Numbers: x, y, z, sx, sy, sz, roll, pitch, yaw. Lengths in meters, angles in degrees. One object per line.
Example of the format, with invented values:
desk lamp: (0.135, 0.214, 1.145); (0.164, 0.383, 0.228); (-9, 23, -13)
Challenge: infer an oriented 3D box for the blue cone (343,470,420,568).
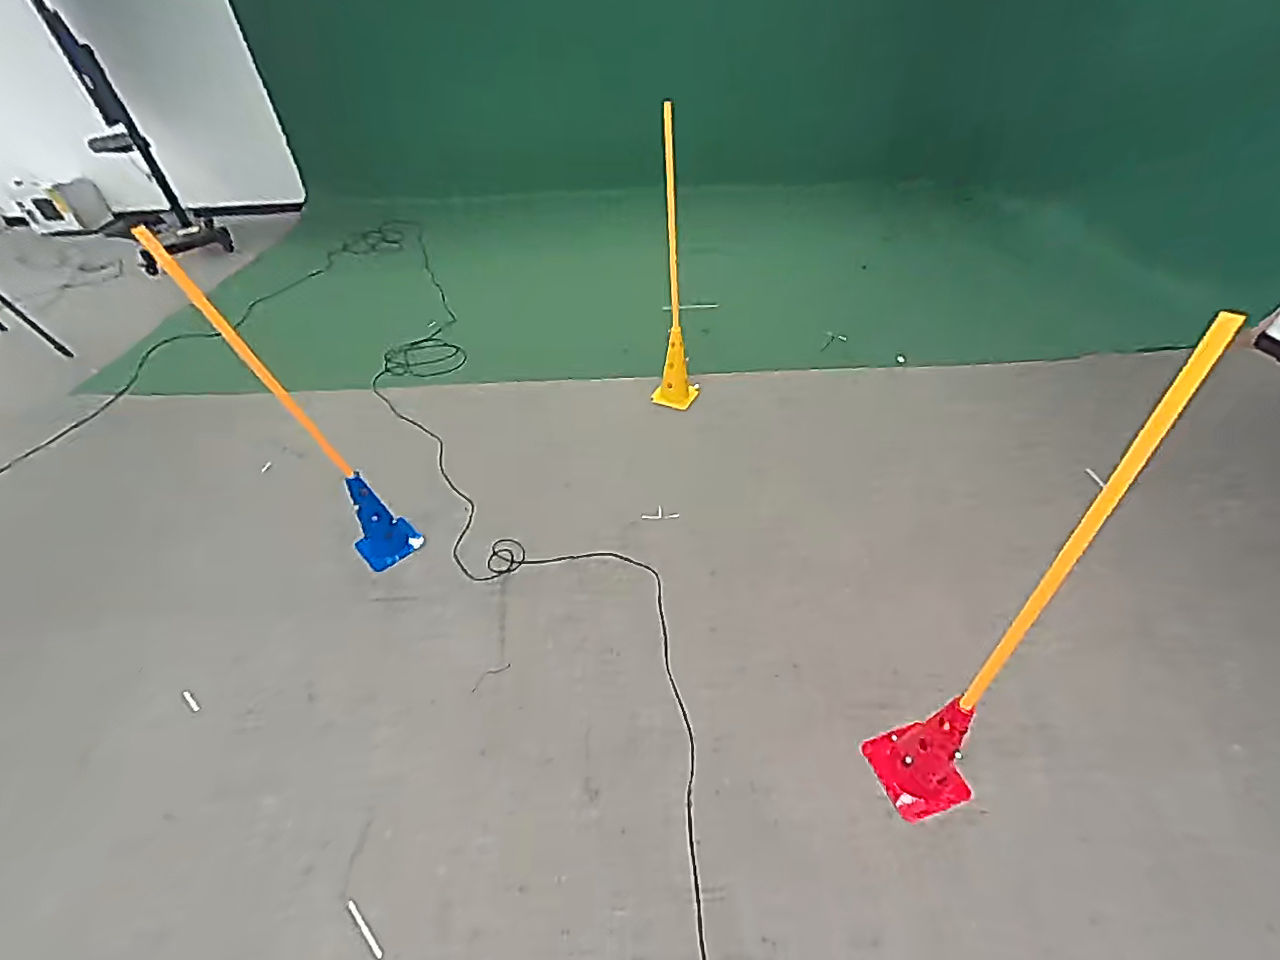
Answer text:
blue cone: (-0.936, 0.116, 1.881); (0.192, 0.380, 0.193); (32, 55, 31)
